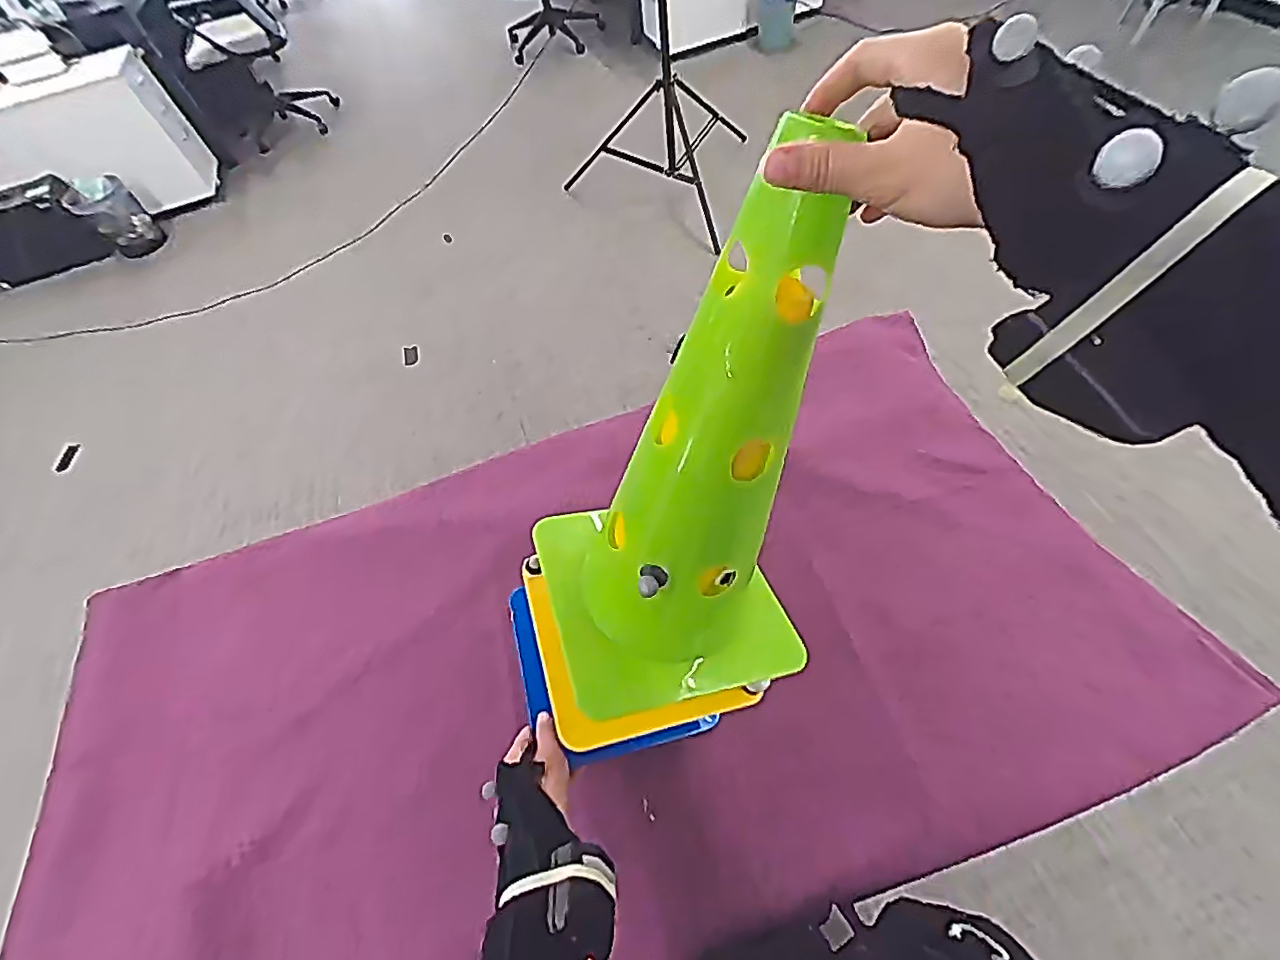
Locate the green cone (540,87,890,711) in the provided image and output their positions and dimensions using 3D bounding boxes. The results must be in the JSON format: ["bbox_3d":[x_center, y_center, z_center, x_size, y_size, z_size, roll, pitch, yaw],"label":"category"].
[{"bbox_3d":[0.054,-0.036,0.356,0.200,0.368,0.202,-6,46,-20],"label":"green cone"}]
